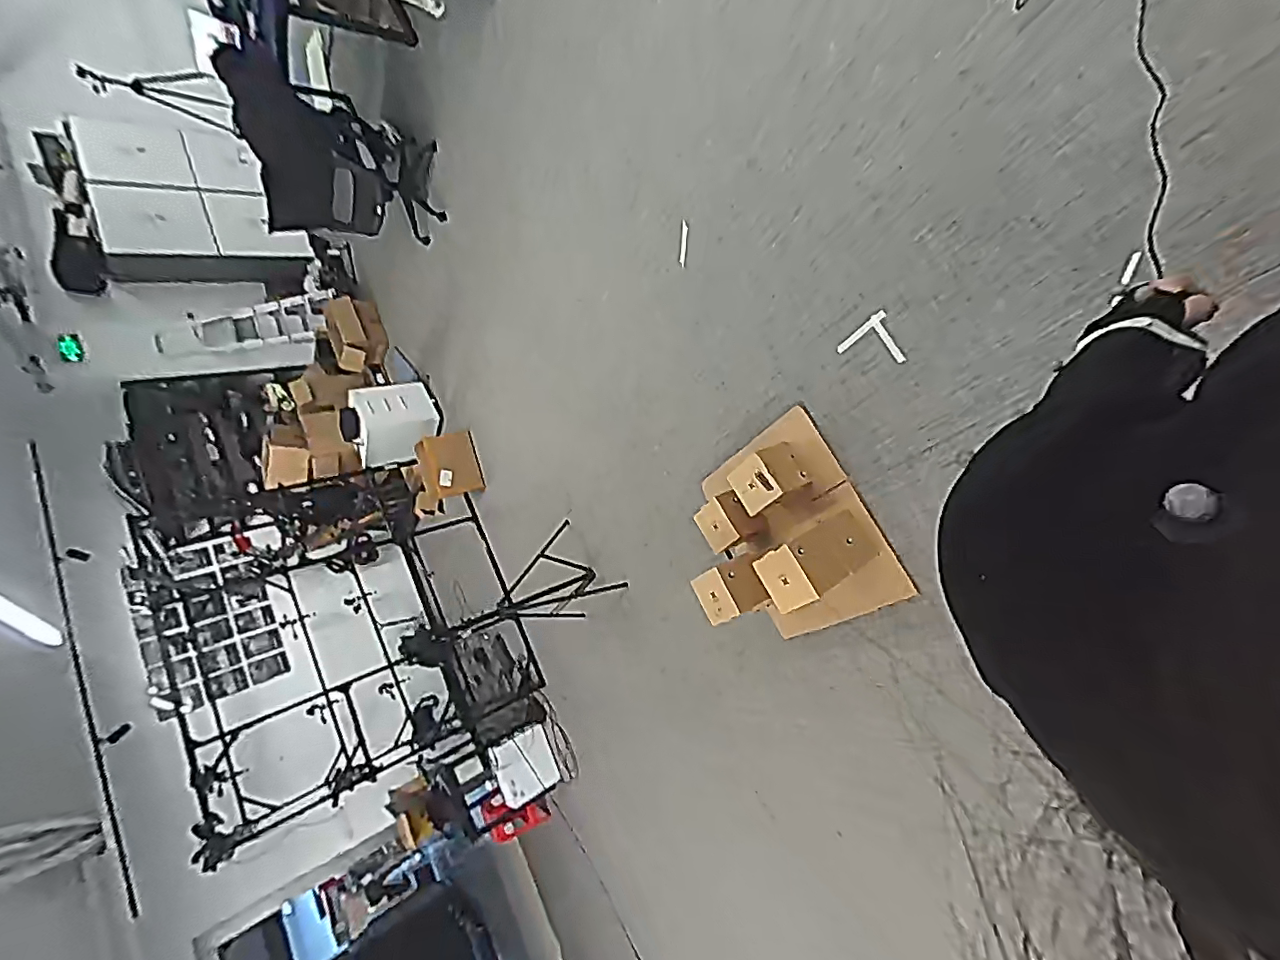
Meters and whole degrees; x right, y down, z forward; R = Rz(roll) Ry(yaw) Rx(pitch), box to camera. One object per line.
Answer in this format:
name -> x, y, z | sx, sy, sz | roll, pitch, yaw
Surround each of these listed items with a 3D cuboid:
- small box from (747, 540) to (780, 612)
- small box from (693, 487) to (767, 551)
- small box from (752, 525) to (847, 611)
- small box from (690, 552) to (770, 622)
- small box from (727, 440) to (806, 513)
small box -> 0.449, 0.345, 1.958 | 0.179, 0.176, 0.168 | 59, 141, 16
small box -> 0.338, 0.136, 2.023 | 0.179, 0.176, 0.168 | 59, 142, 16
small box -> 0.478, 0.261, 1.615 | 0.179, 0.176, 0.168 | 61, 141, 15
small box -> 0.313, 0.363, 1.864 | 0.168, 0.176, 0.179 | -45, 68, 51
small box -> 0.437, -0.014, 1.833 | 0.168, 0.176, 0.179 | 60, 142, 16
